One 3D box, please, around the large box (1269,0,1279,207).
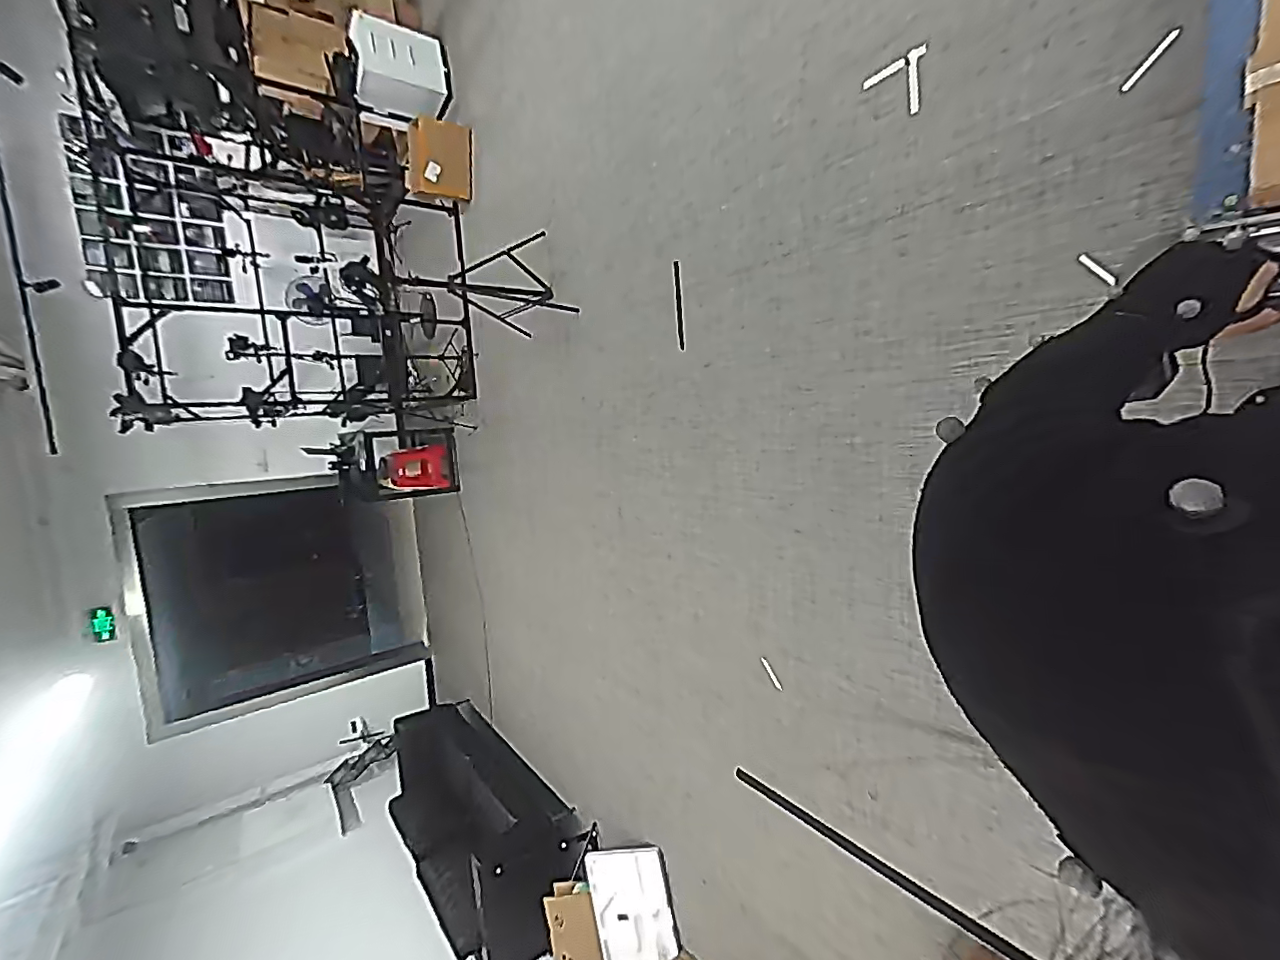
[{"bbox_3d":[1.018,-0.526,0.595,0.408,0.320,0.320,6,111,53],"label":"large box"}]
